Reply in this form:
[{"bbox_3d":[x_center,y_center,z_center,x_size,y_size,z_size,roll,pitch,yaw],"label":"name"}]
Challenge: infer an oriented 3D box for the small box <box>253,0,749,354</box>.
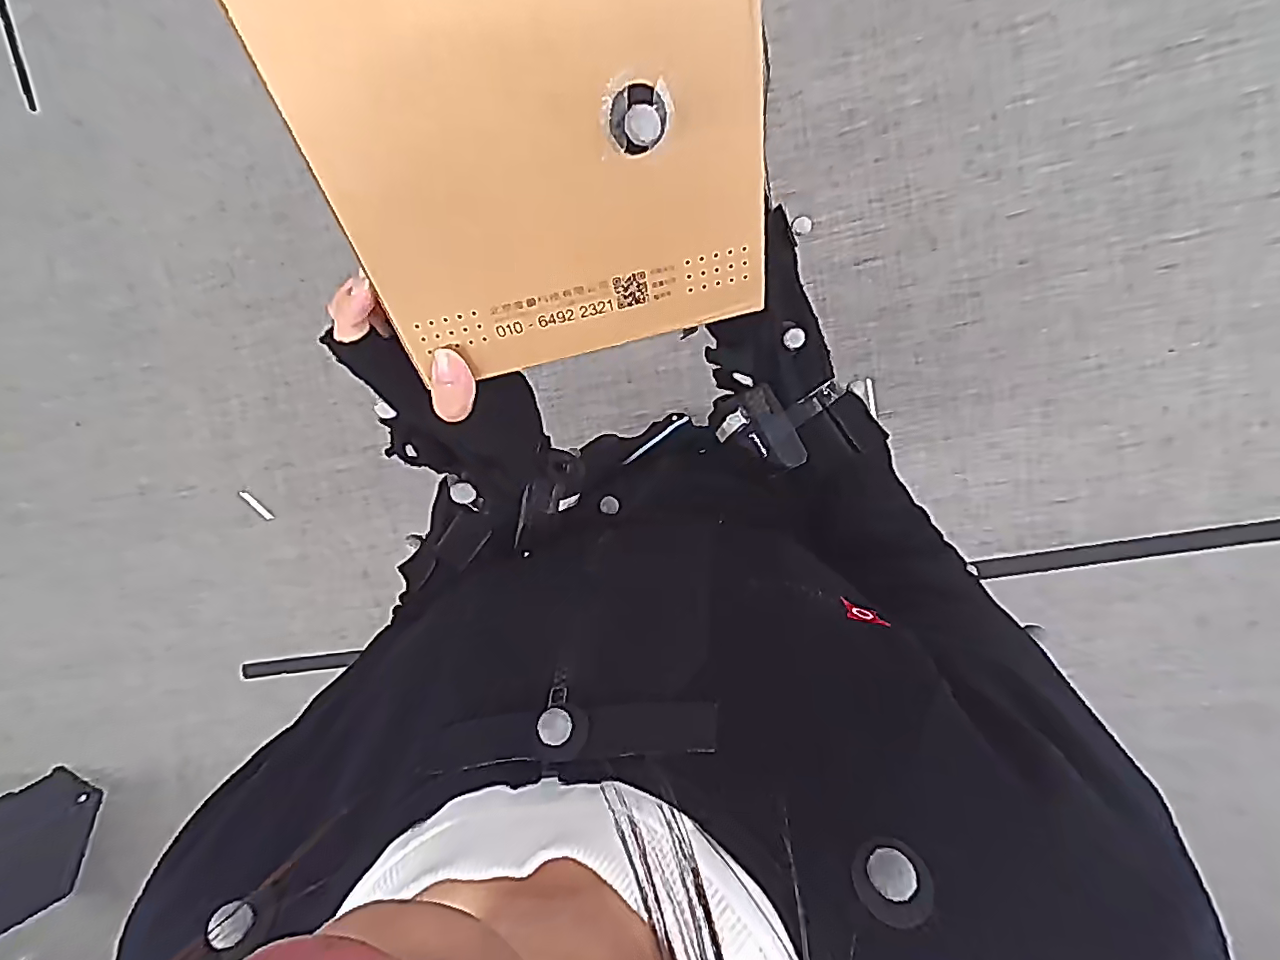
[{"bbox_3d":[-0.046,-0.181,0.281,0.168,0.179,0.176,-13,134,0],"label":"small box"}]
